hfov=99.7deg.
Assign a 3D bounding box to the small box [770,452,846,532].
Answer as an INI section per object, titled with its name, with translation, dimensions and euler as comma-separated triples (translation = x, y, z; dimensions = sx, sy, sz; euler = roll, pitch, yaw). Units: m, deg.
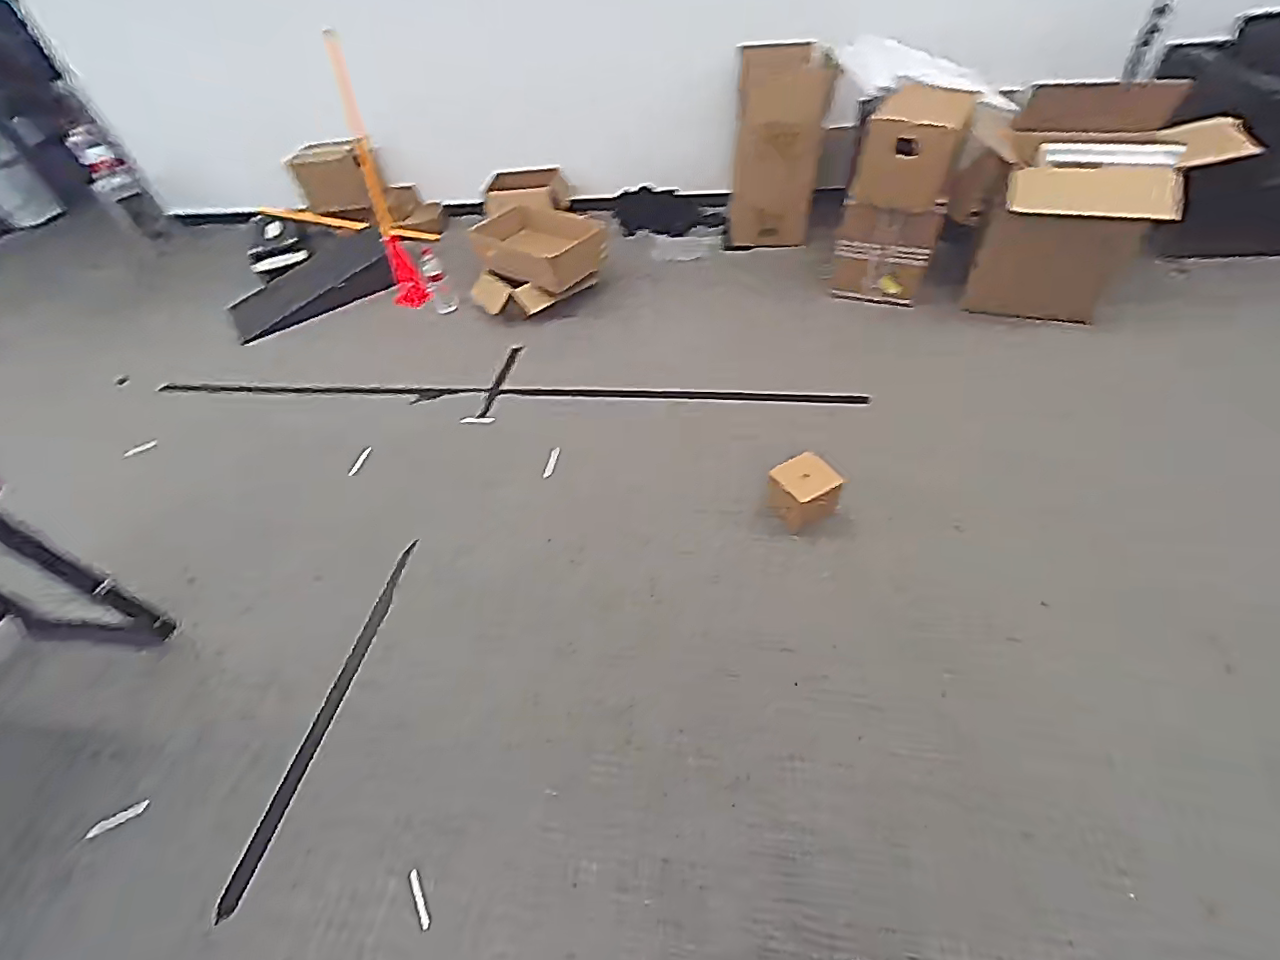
[small box]
translation = 0.548, 0.045, 1.793
dimensions = 0.179, 0.176, 0.168
euler = -25, 51, -16
